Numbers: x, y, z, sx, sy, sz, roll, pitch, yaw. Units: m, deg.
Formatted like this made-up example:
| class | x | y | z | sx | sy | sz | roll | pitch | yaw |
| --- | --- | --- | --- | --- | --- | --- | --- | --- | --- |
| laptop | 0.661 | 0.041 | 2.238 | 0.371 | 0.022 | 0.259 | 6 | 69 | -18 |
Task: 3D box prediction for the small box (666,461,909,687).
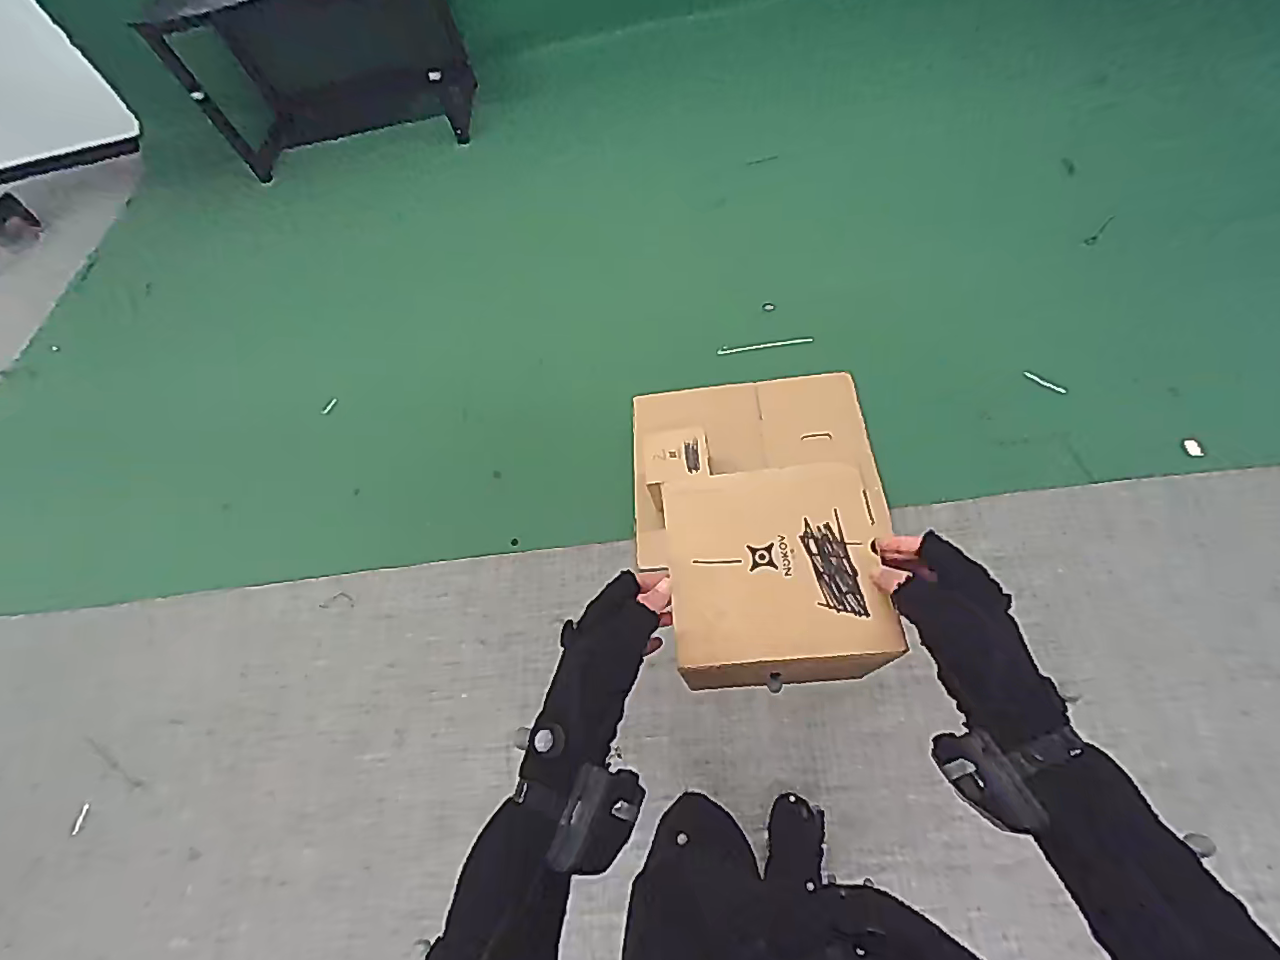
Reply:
| class | x | y | z | sx | sy | sz | roll | pitch | yaw |
| --- | --- | --- | --- | --- | --- | --- | --- | --- | --- |
| small box | 0.124 | 0.099 | 0.517 | 0.179 | 0.176 | 0.168 | -7 | 62 | 7 |
